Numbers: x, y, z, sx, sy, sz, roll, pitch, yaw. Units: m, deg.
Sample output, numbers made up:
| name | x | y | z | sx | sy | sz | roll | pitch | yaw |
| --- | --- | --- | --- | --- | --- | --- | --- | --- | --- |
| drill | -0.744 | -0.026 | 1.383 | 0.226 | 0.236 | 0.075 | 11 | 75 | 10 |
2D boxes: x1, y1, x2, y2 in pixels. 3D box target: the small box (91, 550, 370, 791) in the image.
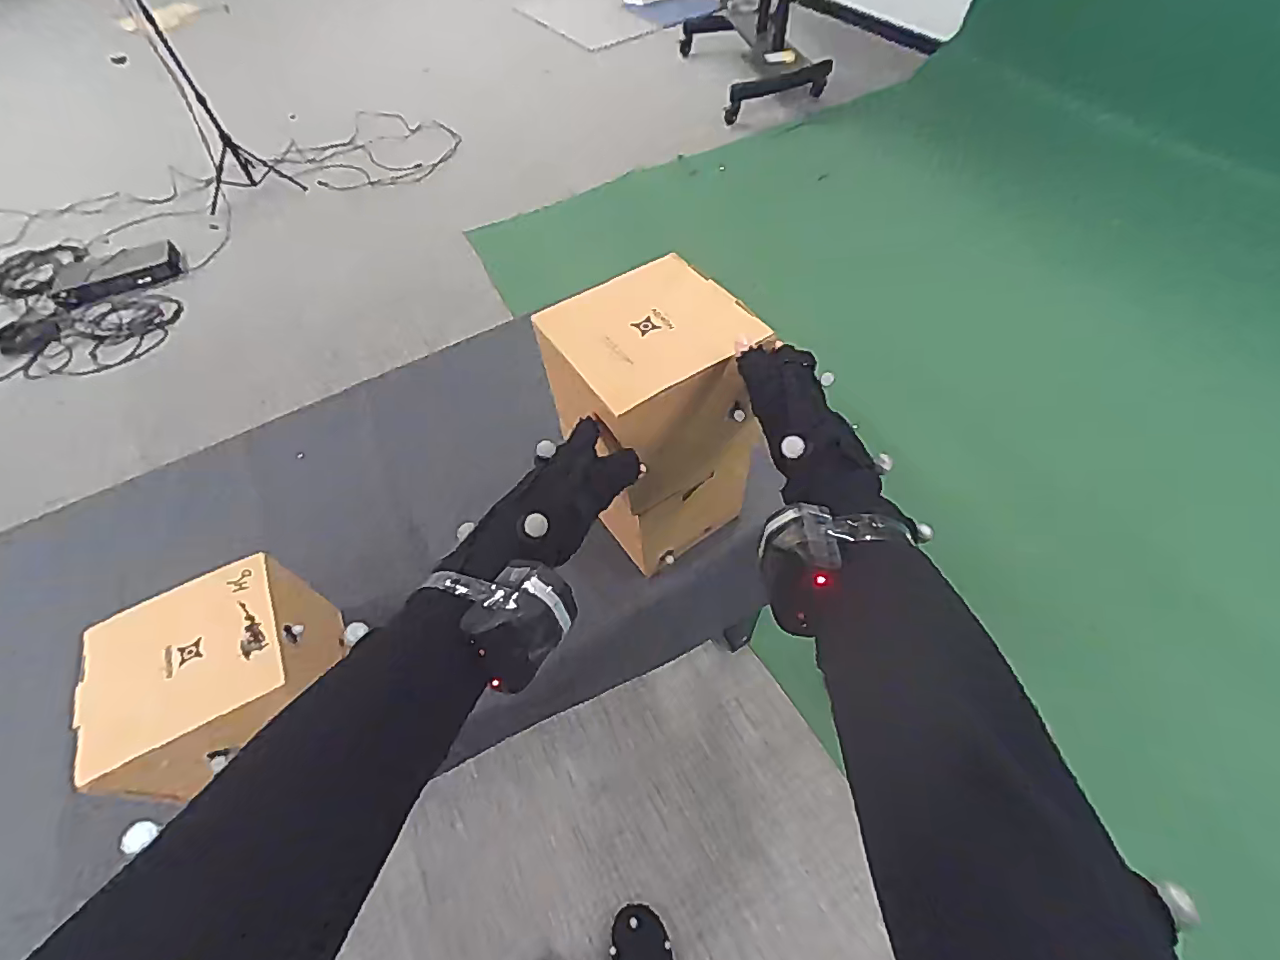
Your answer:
| name | x | y | z | sx | sy | sz | roll | pitch | yaw |
| --- | --- | --- | --- | --- | --- | --- | --- | --- | --- |
| small box | -0.436 | 0.215 | 0.599 | 0.179 | 0.176 | 0.168 | -26 | 57 | -14 |

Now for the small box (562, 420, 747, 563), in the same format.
| name | x | y | z | sx | sy | sz | roll | pitch | yaw |
| --- | --- | --- | --- | --- | --- | --- | --- | --- | --- |
| small box | 0.021 | -0.010 | 0.728 | 0.168 | 0.176 | 0.179 | -31 | 59 | -17 |

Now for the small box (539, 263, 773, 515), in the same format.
| name | x | y | z | sx | sy | sz | roll | pitch | yaw |
| --- | --- | --- | --- | --- | --- | --- | --- | --- | --- |
| small box | 0.017 | -0.096 | 0.590 | 0.179 | 0.176 | 0.168 | -31 | 57 | -15 |
